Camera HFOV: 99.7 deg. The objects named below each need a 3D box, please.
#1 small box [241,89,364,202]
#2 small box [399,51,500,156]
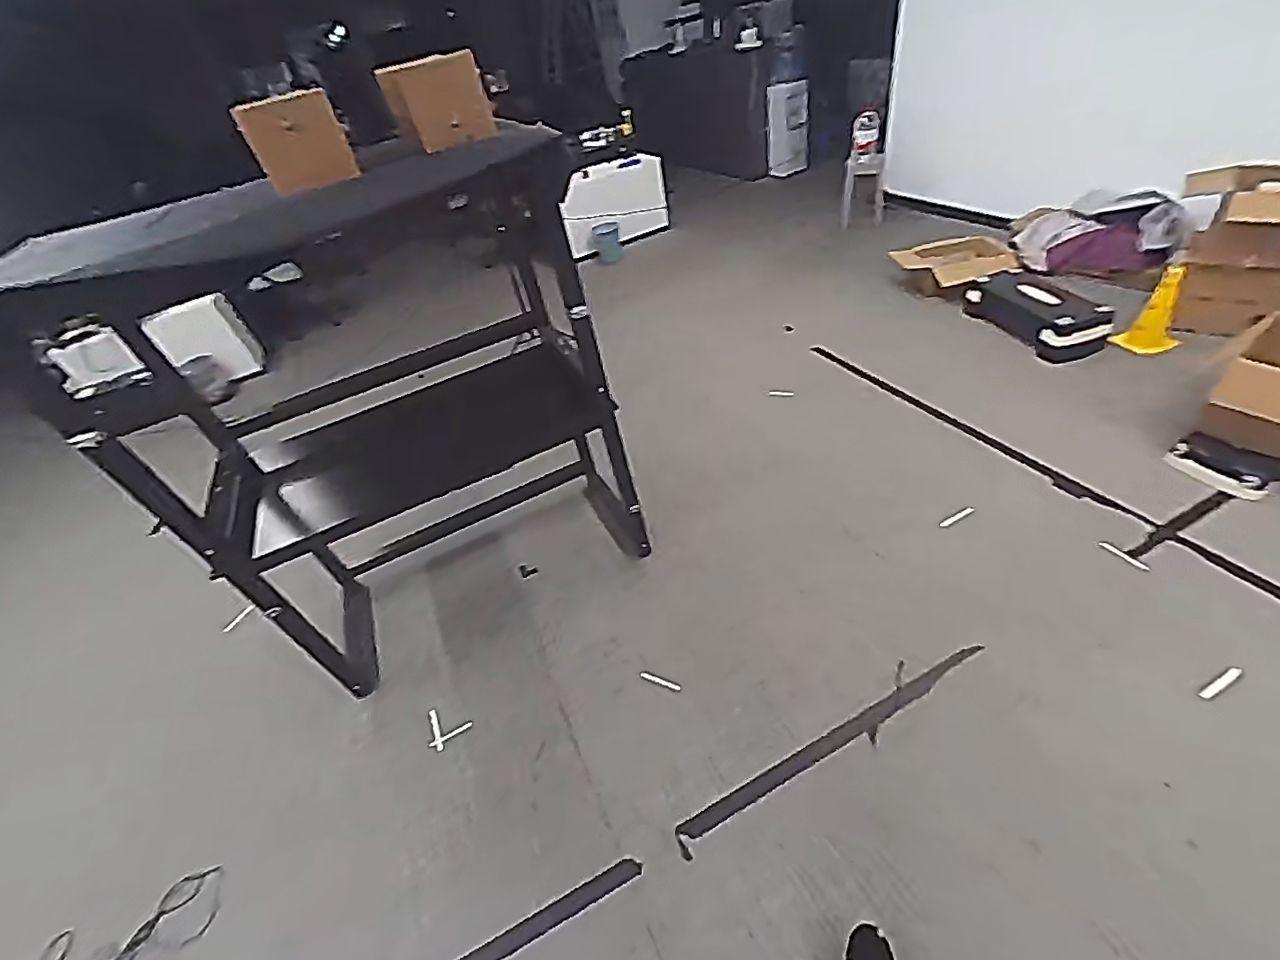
[{"bbox_3d":[-0.729,-0.739,1.192,0.179,0.176,0.168,-25,42,-12],"label":"small box"},{"bbox_3d":[-0.438,-0.868,1.252,0.168,0.176,0.179,-20,41,-7],"label":"small box"}]
